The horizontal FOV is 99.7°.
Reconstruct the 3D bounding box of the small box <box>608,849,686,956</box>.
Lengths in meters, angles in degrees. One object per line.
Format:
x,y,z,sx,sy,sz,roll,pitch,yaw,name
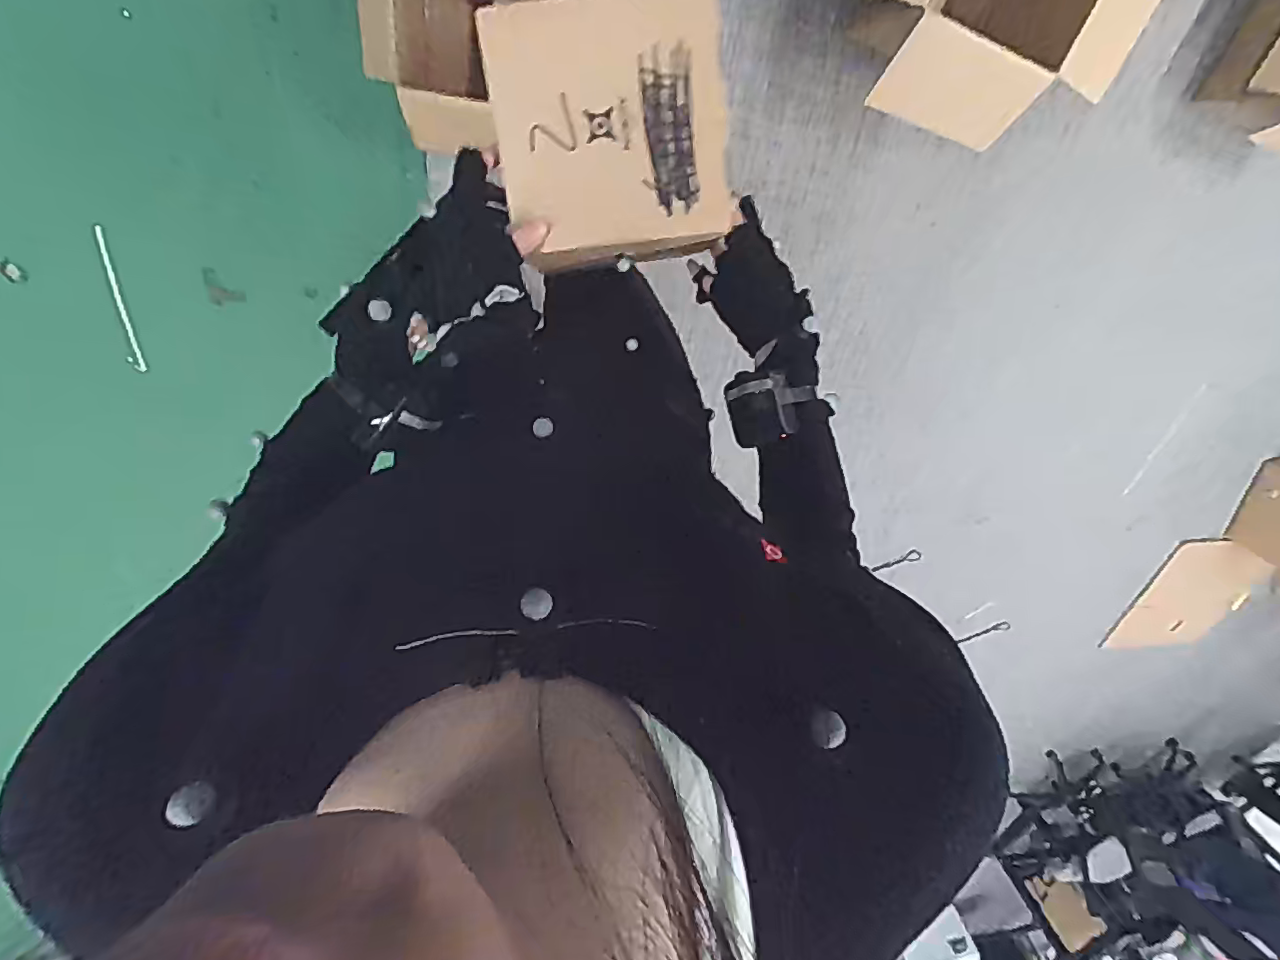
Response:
0.011,1.115,1.434,0.168,0.176,0.179,-1,123,-13,small box
